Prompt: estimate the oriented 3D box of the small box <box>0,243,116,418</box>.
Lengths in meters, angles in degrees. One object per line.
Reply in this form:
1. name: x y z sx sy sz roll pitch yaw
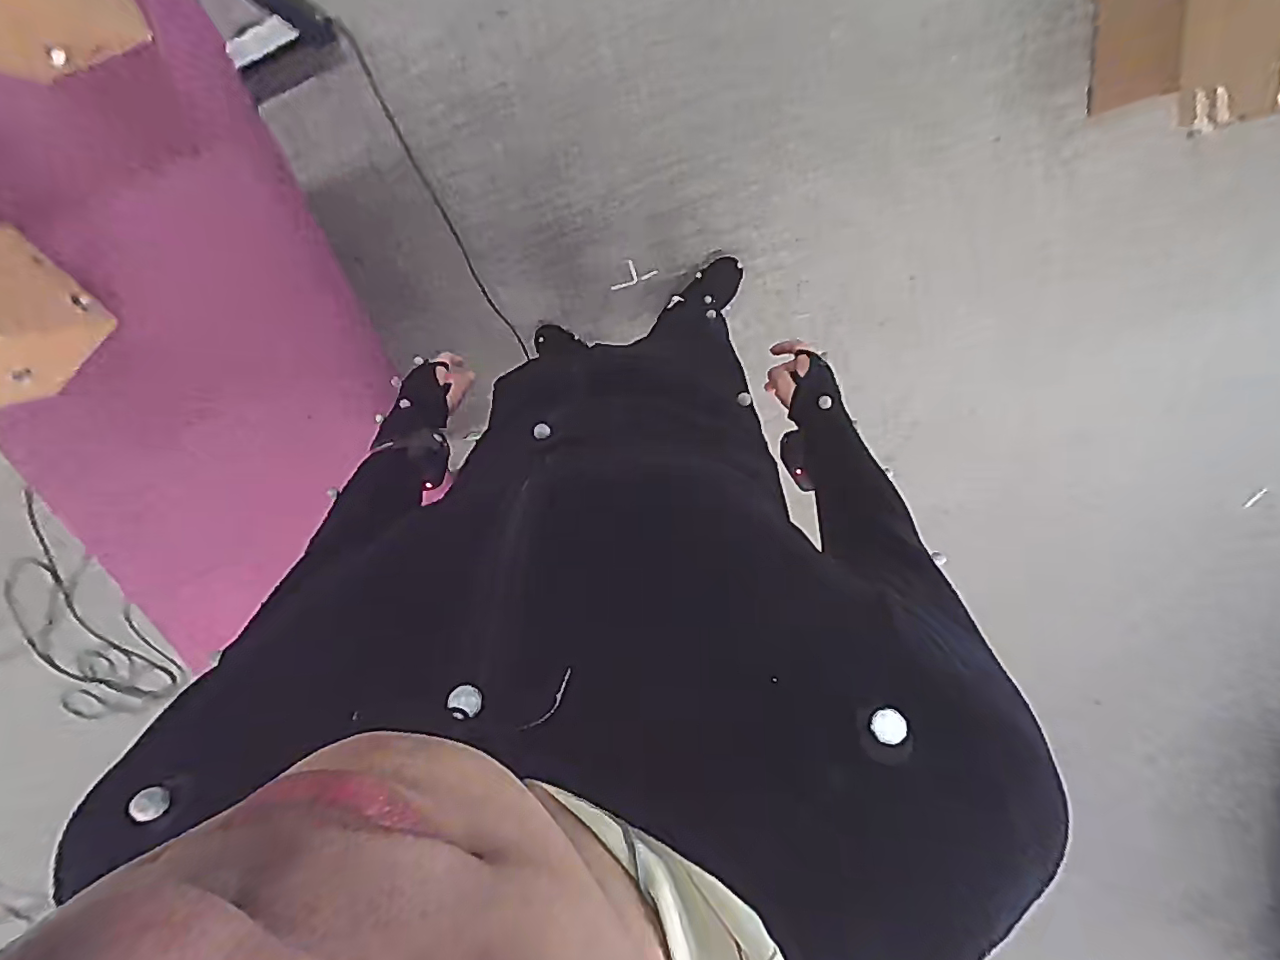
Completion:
1. small box: -0.874 -0.198 0.720 0.179 0.176 0.168 -37 108 14
